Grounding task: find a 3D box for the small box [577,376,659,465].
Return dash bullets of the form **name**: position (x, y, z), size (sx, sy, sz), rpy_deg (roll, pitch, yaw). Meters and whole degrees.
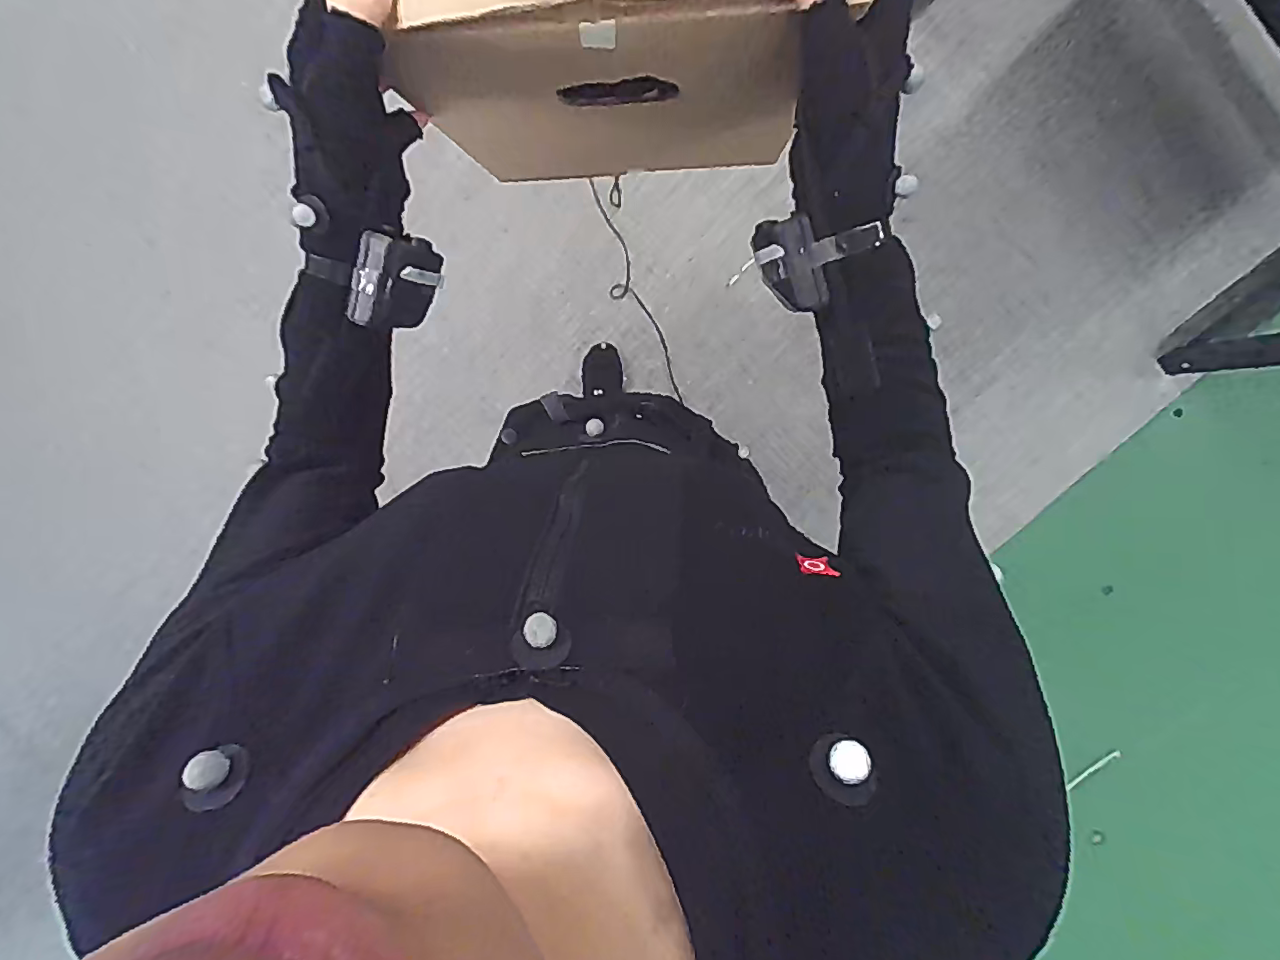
- **small box**: position (-0.063, -0.158, 1.392), size (0.168, 0.176, 0.179), rpy_deg (14, 102, -11)
